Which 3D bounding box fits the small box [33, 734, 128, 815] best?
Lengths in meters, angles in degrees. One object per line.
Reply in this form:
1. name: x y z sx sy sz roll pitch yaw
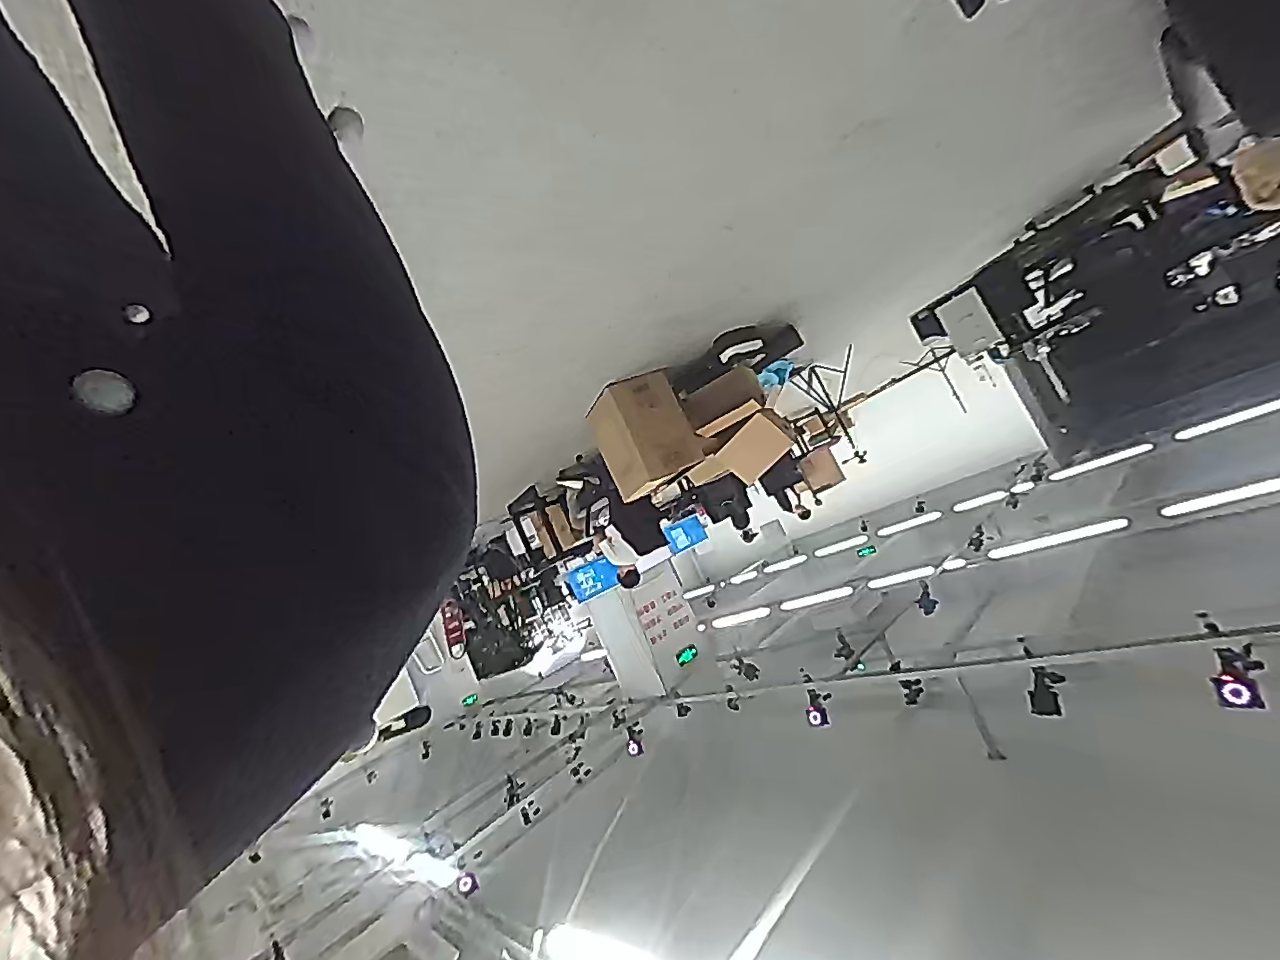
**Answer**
1. small box: -1.835 0.958 1.773 0.179 0.176 0.168 -19 171 -36
